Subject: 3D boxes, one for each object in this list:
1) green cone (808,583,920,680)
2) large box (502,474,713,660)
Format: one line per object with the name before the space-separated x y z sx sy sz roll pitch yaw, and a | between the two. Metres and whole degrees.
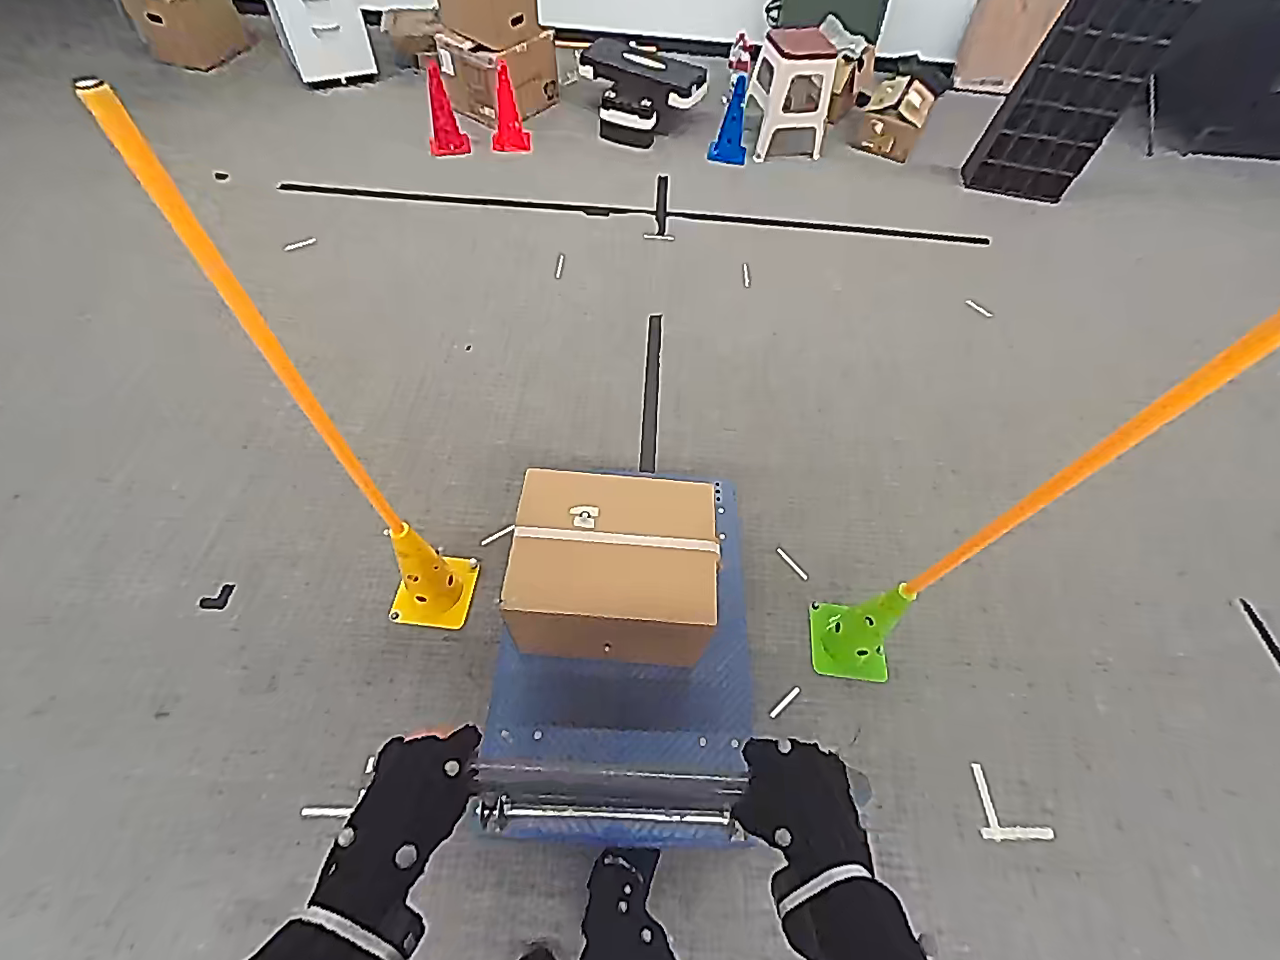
green cone | 0.580 0.346 1.345 0.202 0.368 0.200 8 57 0
large box | -0.058 0.206 1.215 0.408 0.320 0.320 5 57 0
